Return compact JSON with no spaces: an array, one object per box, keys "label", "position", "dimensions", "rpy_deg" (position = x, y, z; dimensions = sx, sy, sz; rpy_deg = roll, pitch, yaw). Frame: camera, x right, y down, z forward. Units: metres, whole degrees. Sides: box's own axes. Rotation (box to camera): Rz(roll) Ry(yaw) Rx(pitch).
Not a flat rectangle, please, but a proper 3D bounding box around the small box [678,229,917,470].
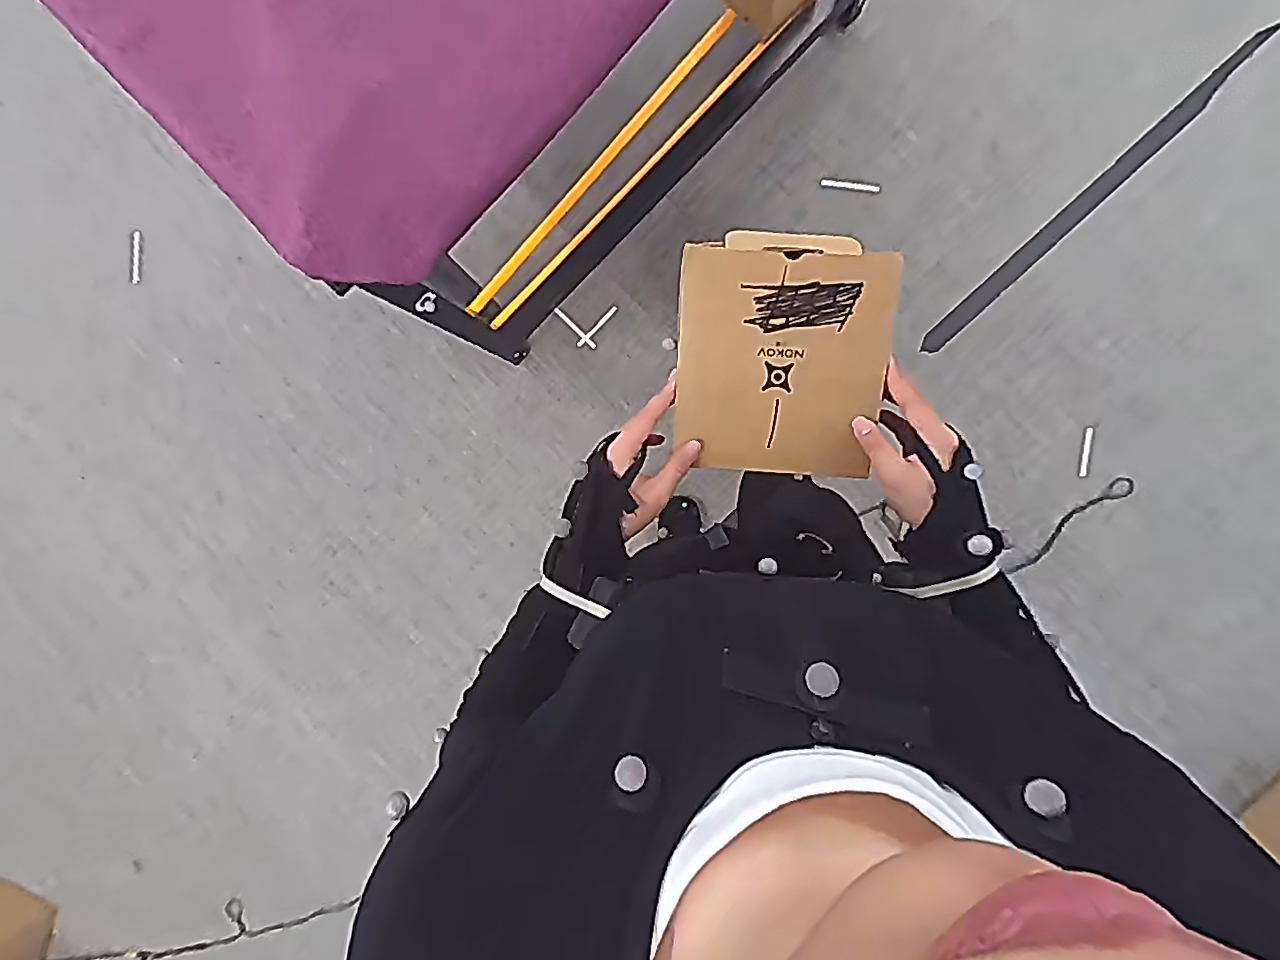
[{"label":"small box","position":[0.123,-0.114,0.497],"dimensions":[0.168,0.176,0.179],"rpy_deg":[4,103,2]}]
